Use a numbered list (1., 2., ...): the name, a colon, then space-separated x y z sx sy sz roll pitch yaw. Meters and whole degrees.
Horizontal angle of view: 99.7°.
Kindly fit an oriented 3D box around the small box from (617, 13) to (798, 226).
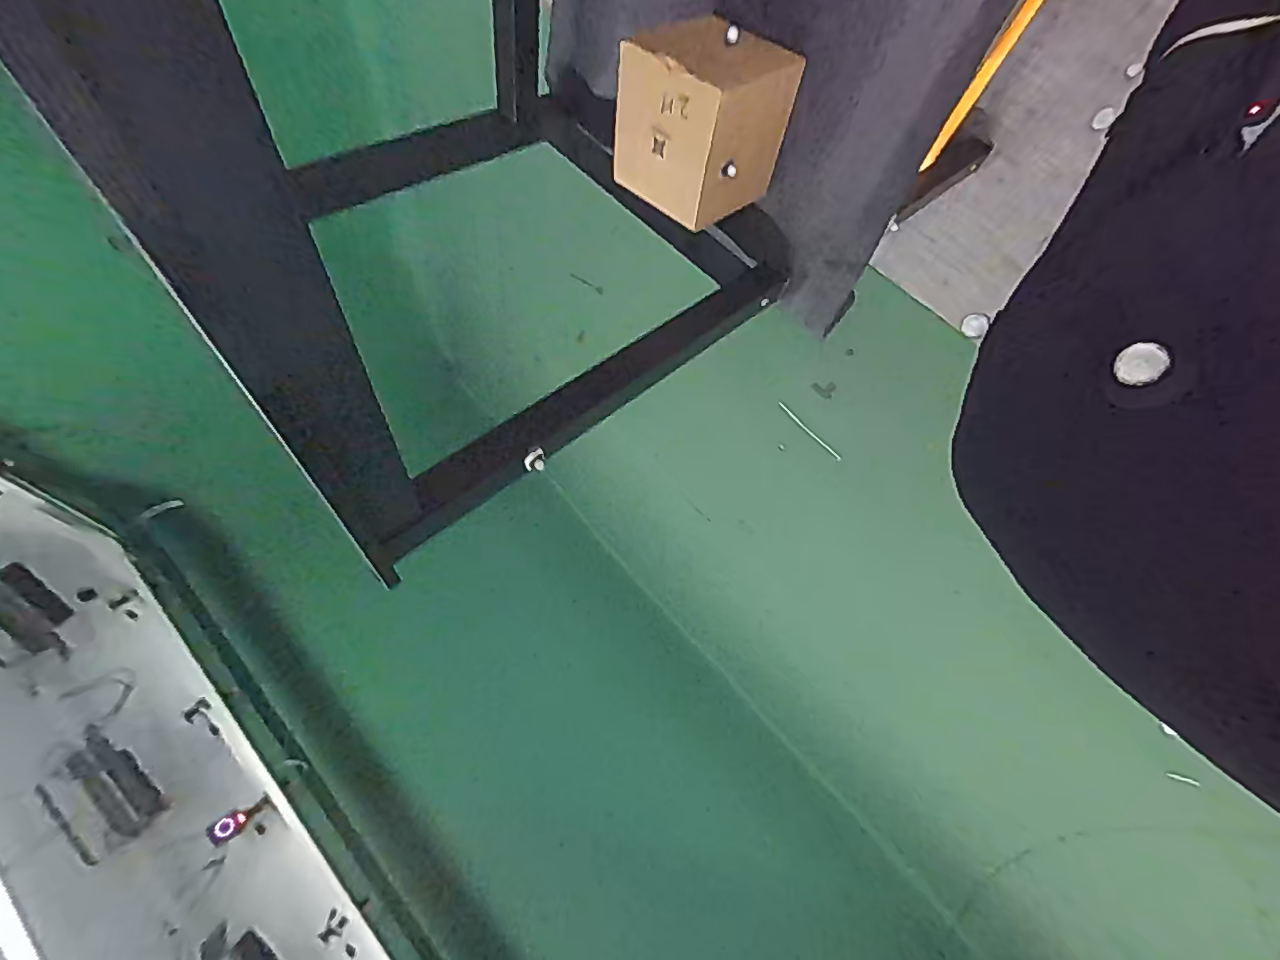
1. small box: 0.087 -0.494 0.740 0.168 0.176 0.179 42 152 19
